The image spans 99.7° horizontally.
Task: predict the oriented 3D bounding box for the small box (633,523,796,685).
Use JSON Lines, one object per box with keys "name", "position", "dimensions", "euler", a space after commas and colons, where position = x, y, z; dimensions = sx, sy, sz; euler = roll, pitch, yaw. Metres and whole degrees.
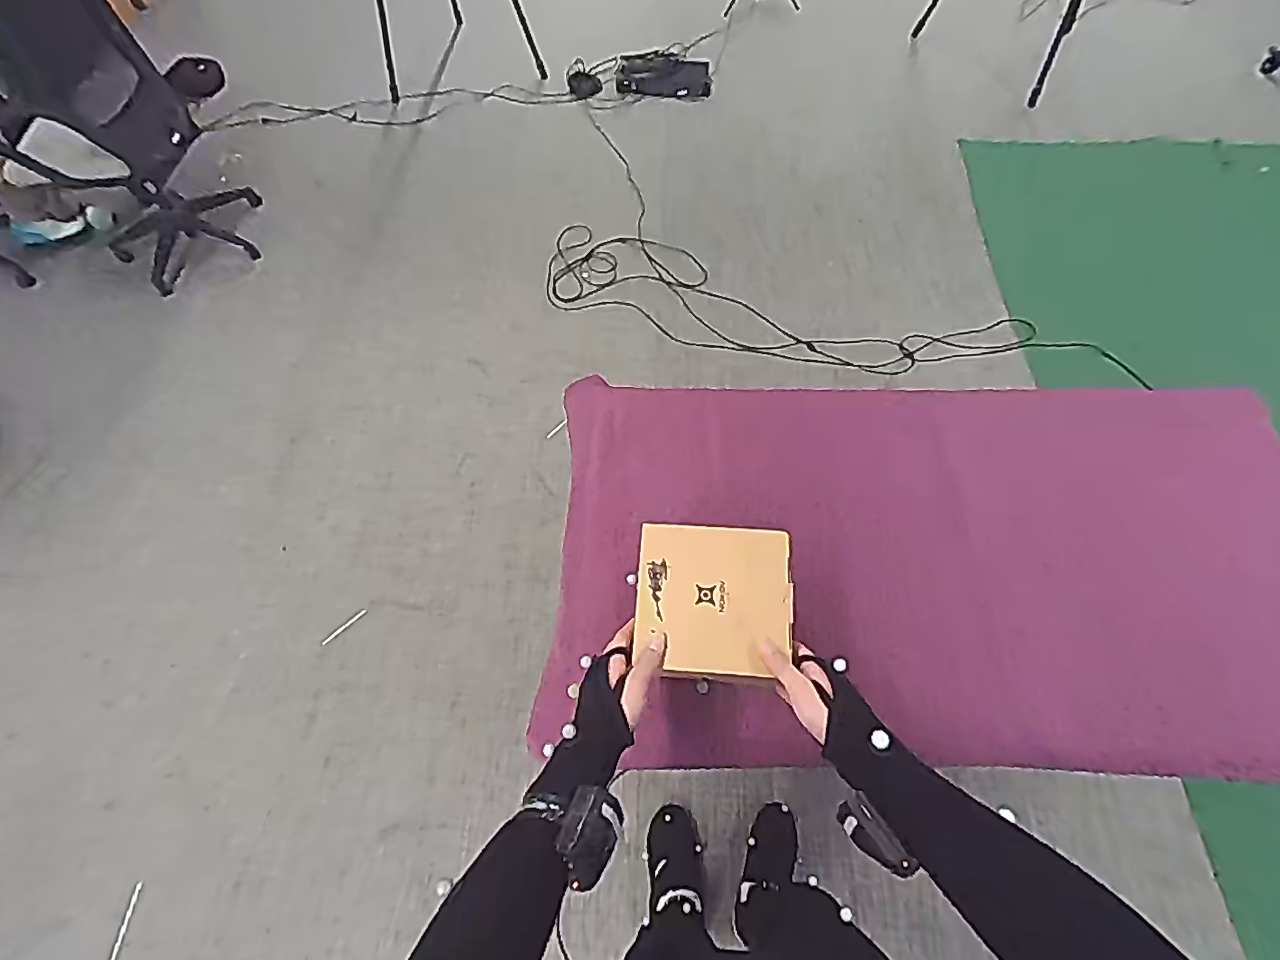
{"name": "small box", "position": [0.087, 0.163, 0.680], "dimensions": [0.179, 0.176, 0.168], "euler": [4, 67, 4]}
